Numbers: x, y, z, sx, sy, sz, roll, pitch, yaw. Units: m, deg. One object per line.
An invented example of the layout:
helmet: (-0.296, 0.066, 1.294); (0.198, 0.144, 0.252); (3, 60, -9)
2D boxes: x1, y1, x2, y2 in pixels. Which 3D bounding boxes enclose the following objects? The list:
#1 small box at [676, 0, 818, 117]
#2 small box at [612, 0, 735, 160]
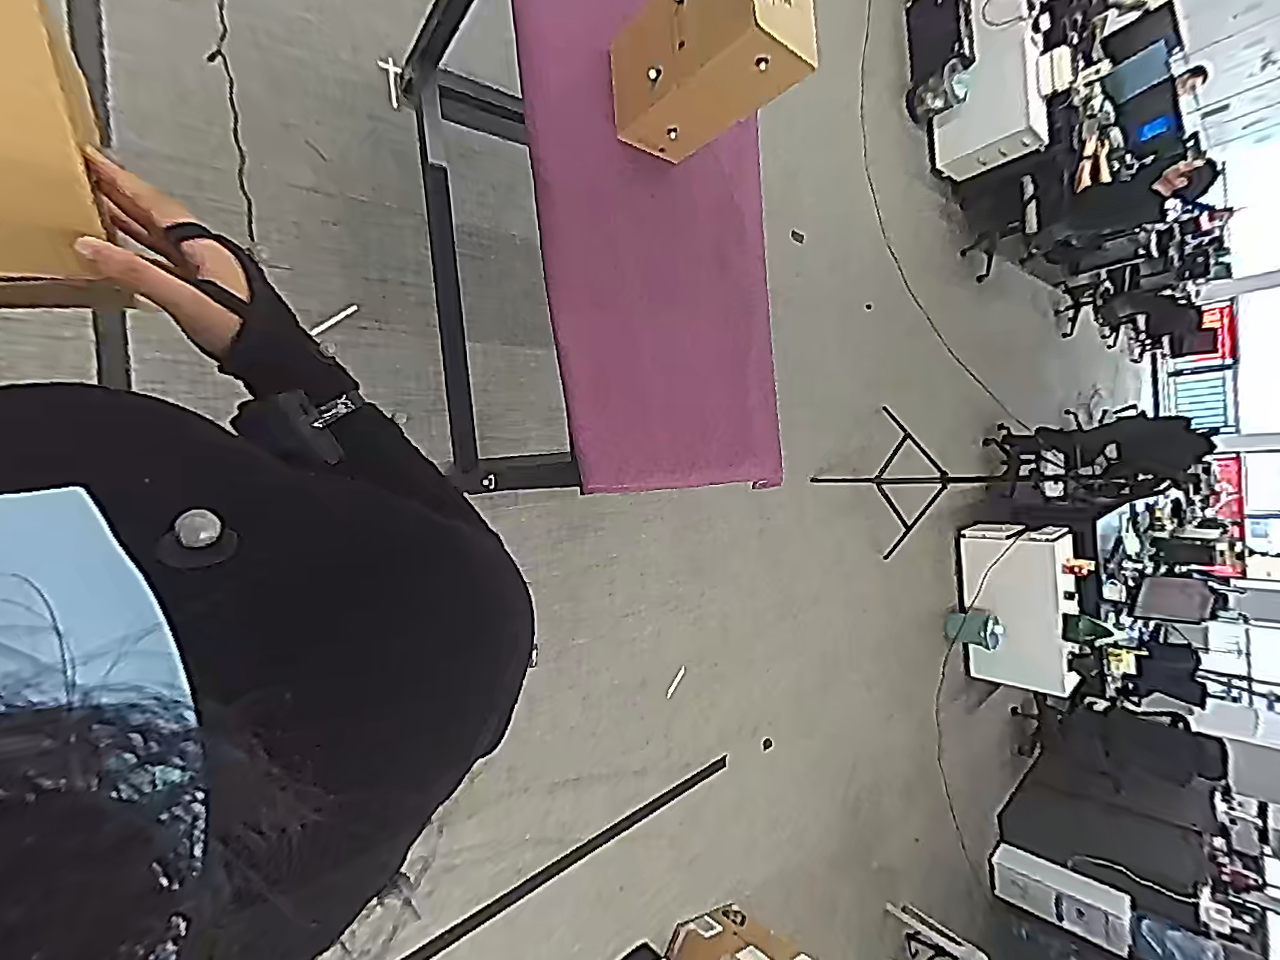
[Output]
small box: (0.173, -0.757, 0.910); (0.179, 0.176, 0.168); (-7, 94, -41)
small box: (0.061, -0.752, 1.030); (0.168, 0.176, 0.179); (-5, 92, -41)
